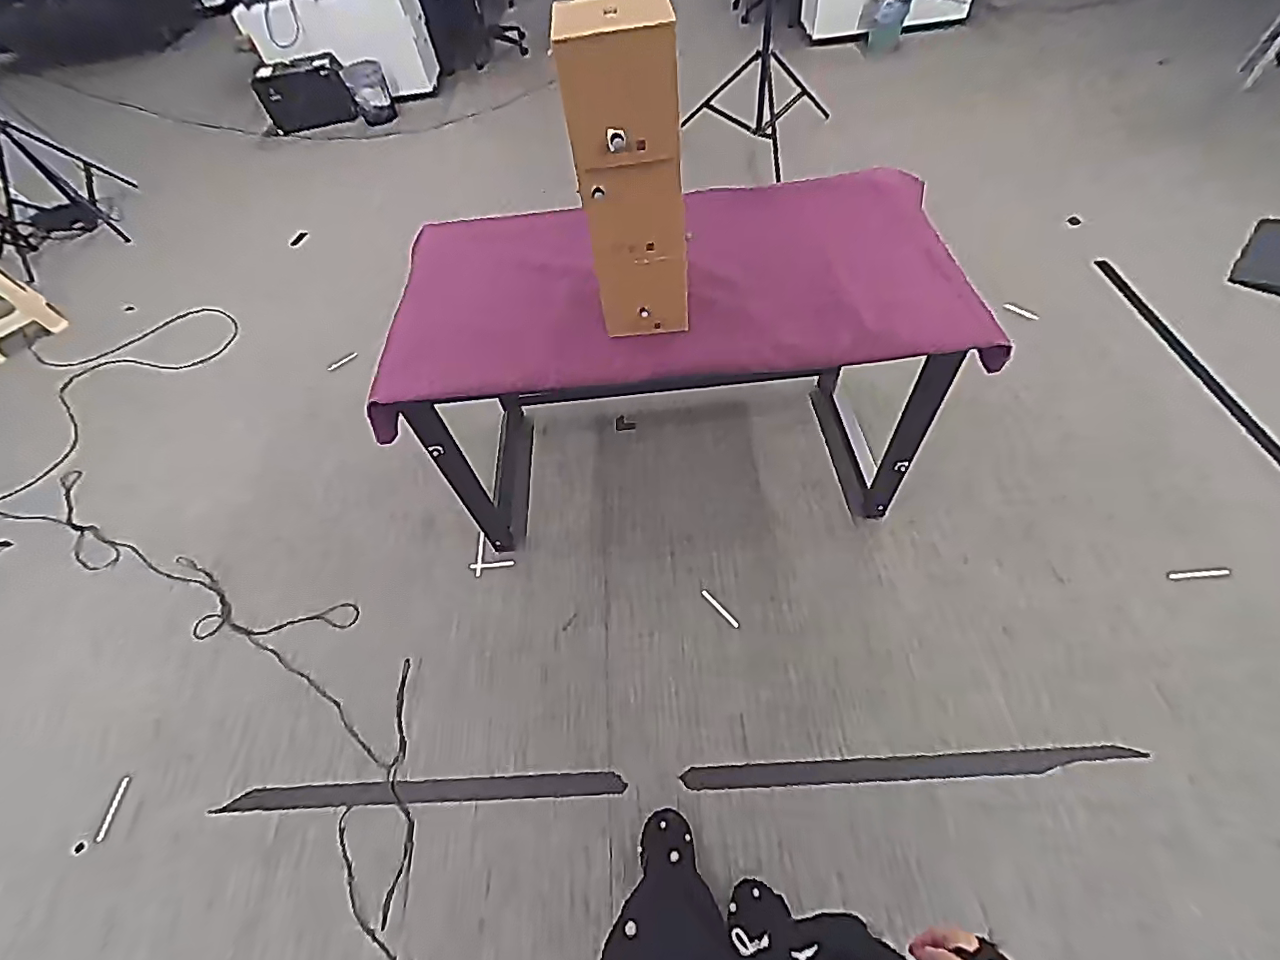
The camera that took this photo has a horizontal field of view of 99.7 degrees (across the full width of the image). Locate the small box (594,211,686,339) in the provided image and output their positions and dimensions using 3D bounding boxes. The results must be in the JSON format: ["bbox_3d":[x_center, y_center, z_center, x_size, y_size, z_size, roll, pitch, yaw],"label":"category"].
[{"bbox_3d":[0.005,-0.407,1.082,0.168,0.176,0.179,-4,54,5],"label":"small box"}]

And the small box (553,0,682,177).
[{"bbox_3d":[-0.030,-0.587,0.811,0.168,0.176,0.179,-8,55,2],"label":"small box"}]
